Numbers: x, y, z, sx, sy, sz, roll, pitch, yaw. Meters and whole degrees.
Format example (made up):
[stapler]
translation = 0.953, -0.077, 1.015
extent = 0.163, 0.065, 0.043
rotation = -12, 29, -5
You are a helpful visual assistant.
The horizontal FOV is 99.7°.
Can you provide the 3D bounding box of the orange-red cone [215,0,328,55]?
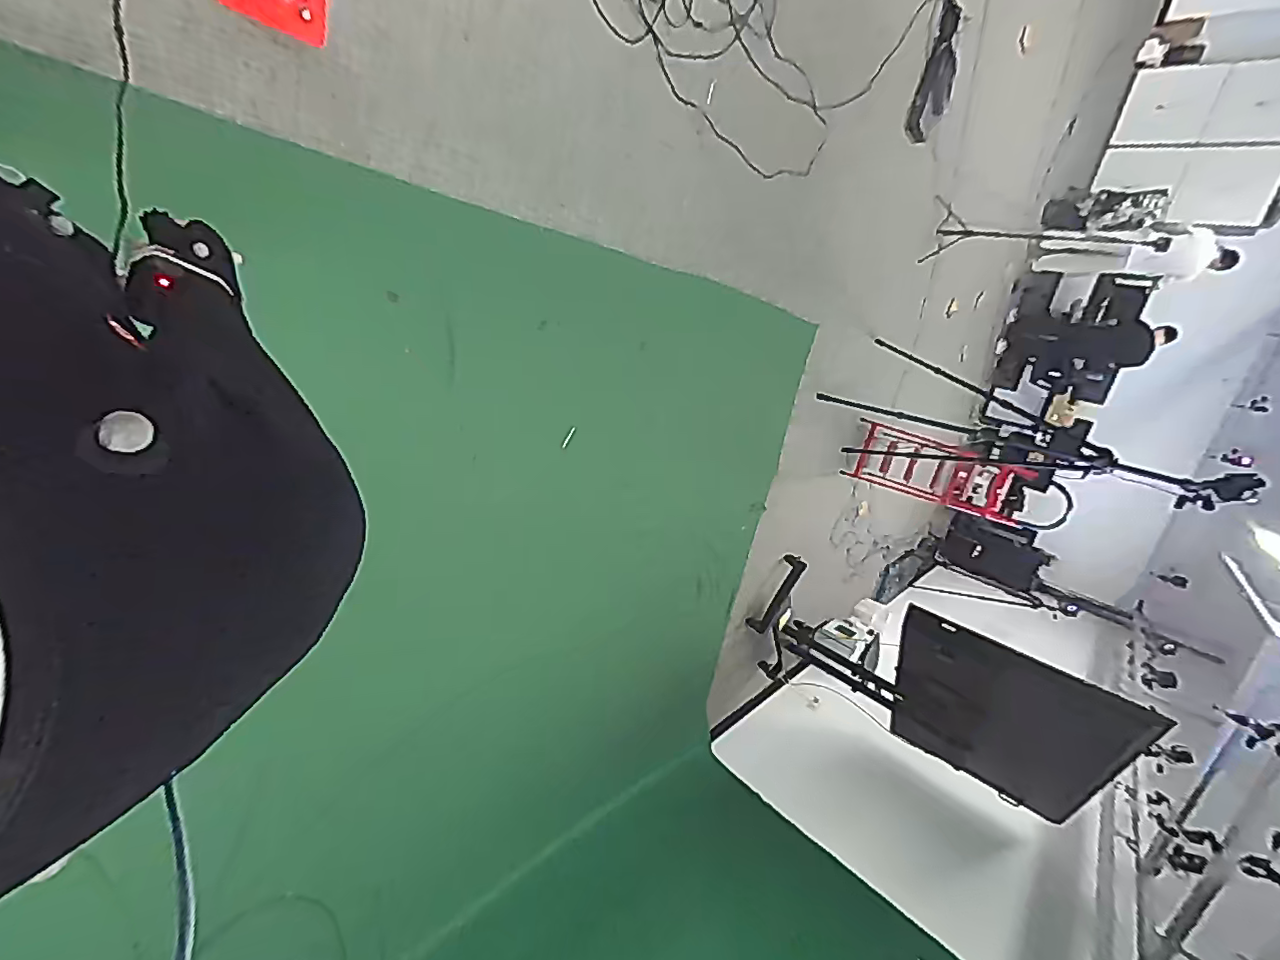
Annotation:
[orange-red cone]
translation = -0.589, -0.924, 0.946
extent = 0.198, 0.360, 0.199
rotation = -7, 114, -49
